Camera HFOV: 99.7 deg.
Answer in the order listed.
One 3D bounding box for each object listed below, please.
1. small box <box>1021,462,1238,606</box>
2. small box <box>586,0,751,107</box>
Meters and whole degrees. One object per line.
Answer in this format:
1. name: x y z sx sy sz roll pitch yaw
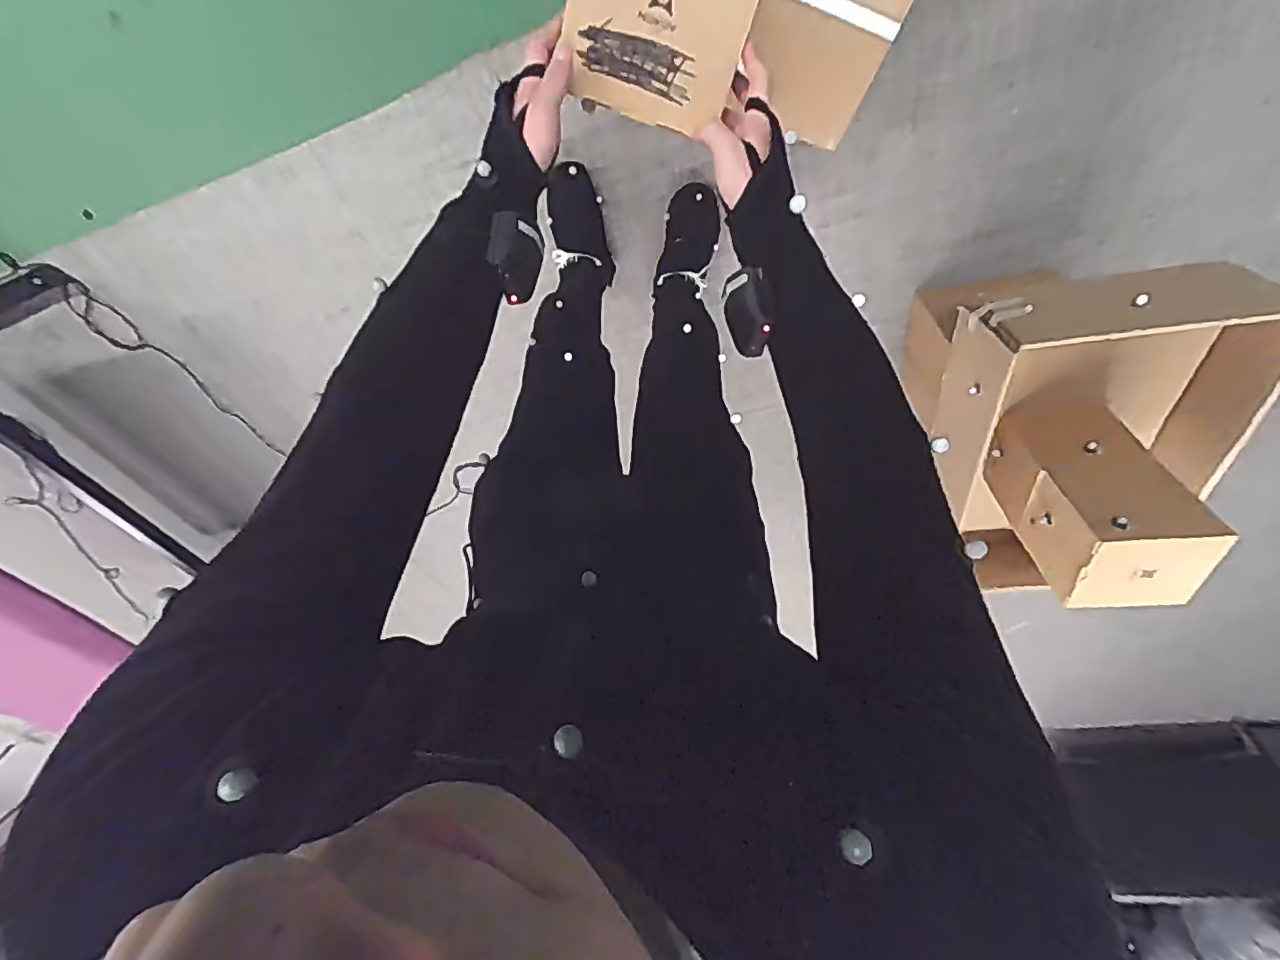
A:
1. small box: 0.771 0.085 0.879 0.179 0.176 0.168 -4 131 10
2. small box: 0.045 -0.601 0.661 0.168 0.176 0.179 17 132 -12
